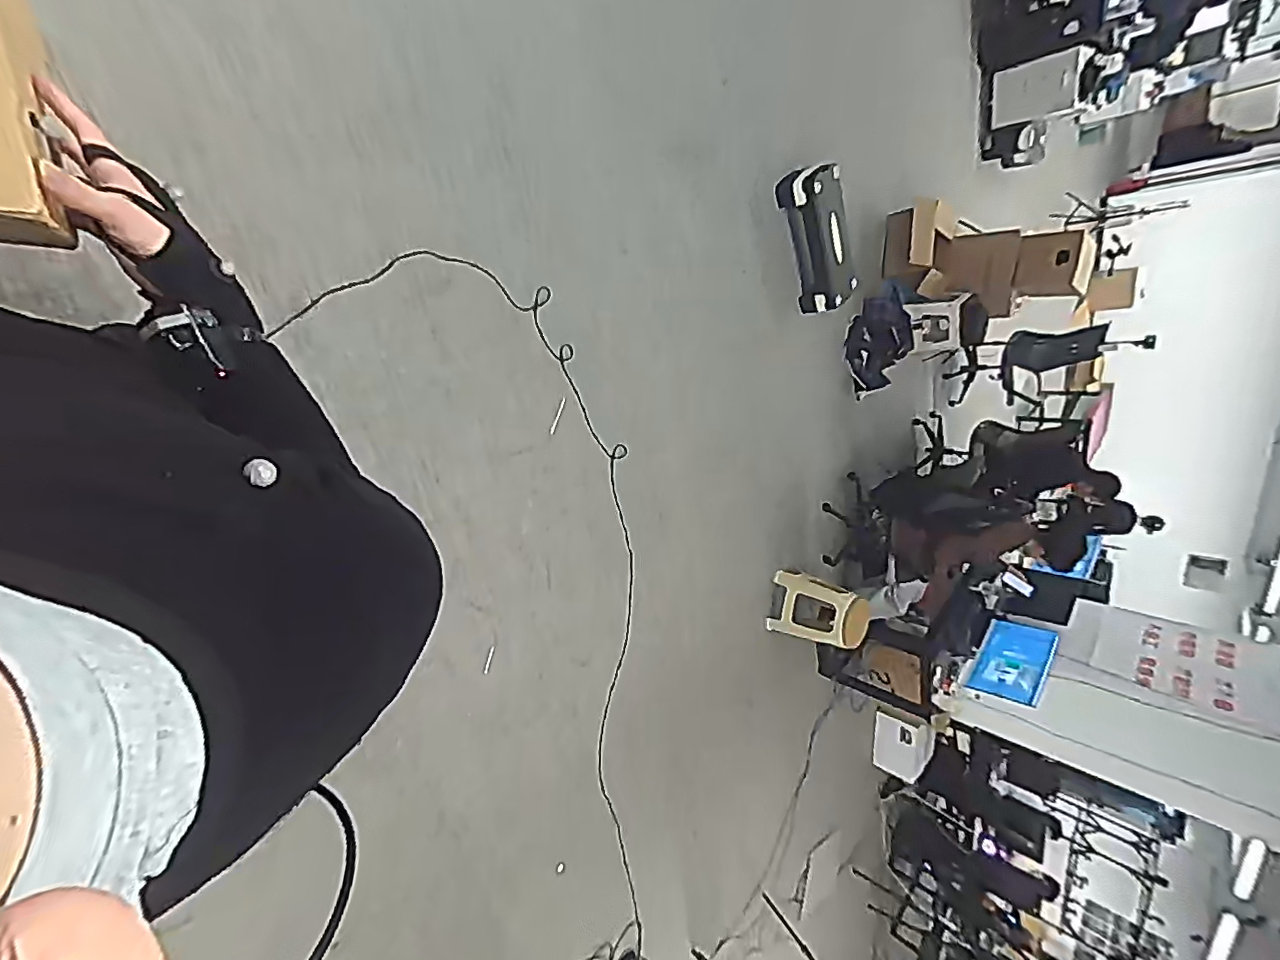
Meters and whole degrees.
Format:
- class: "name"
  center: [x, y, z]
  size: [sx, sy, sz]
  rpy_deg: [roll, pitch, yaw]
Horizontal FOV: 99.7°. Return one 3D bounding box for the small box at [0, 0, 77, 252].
- class: "small box"
  center: [-0.489, -0.249, 0.337]
  size: [0.168, 0.176, 0.179]
  rpy_deg: [-11, 109, -41]
